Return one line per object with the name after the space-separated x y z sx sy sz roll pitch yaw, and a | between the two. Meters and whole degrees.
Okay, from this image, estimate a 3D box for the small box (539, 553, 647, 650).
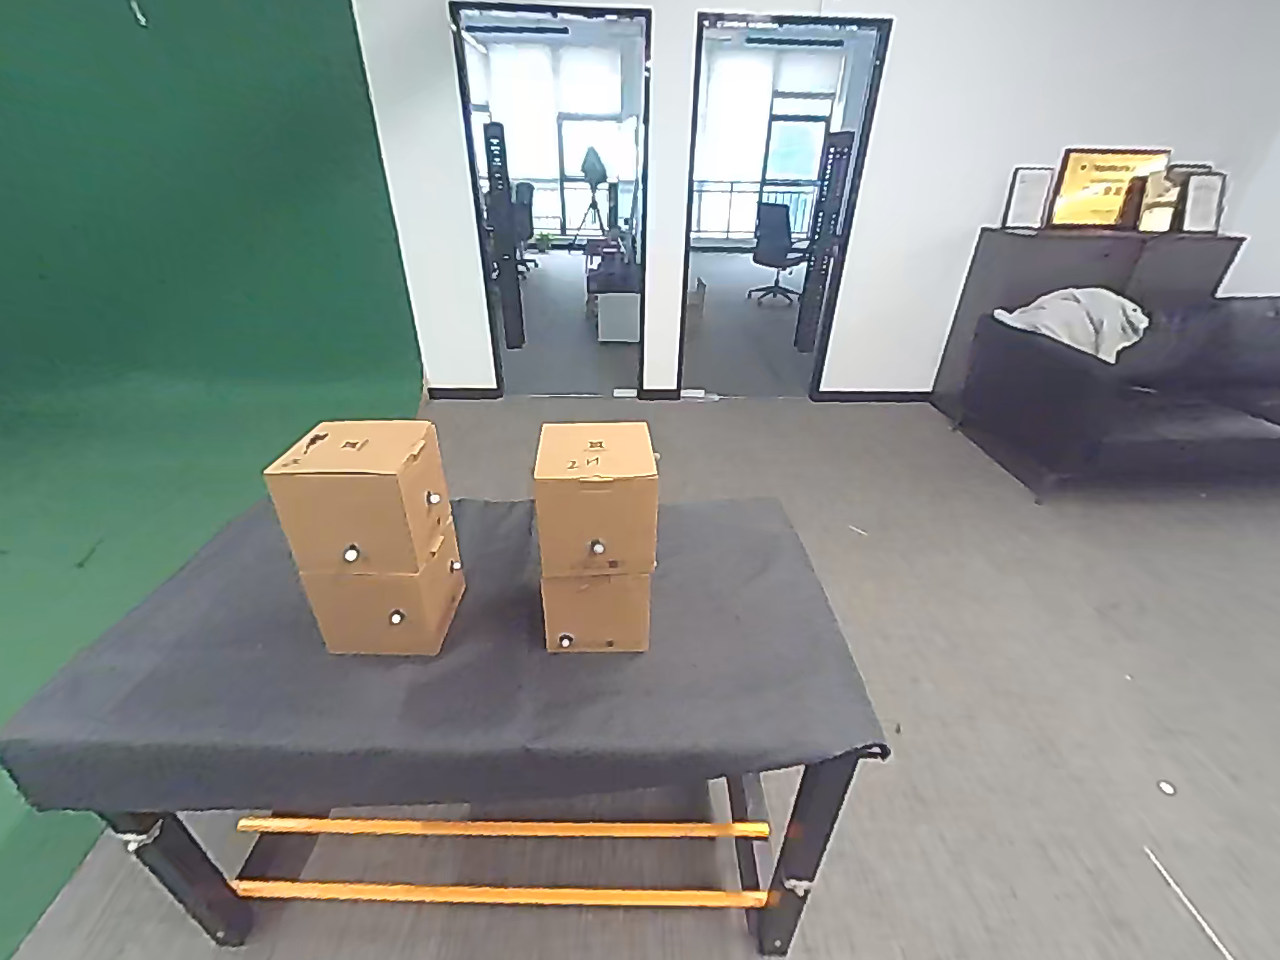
-0.071 0.167 0.910 0.168 0.176 0.179 1 29 -2 | small box

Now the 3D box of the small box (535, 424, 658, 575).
-0.066 0.026 0.825 0.168 0.176 0.179 -2 30 -5 | small box

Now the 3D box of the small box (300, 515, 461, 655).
-0.408 0.171 0.889 0.179 0.176 0.168 0 29 -1 | small box

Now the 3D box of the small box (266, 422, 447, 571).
-0.406 0.024 0.814 0.179 0.176 0.168 1 29 -2 | small box
